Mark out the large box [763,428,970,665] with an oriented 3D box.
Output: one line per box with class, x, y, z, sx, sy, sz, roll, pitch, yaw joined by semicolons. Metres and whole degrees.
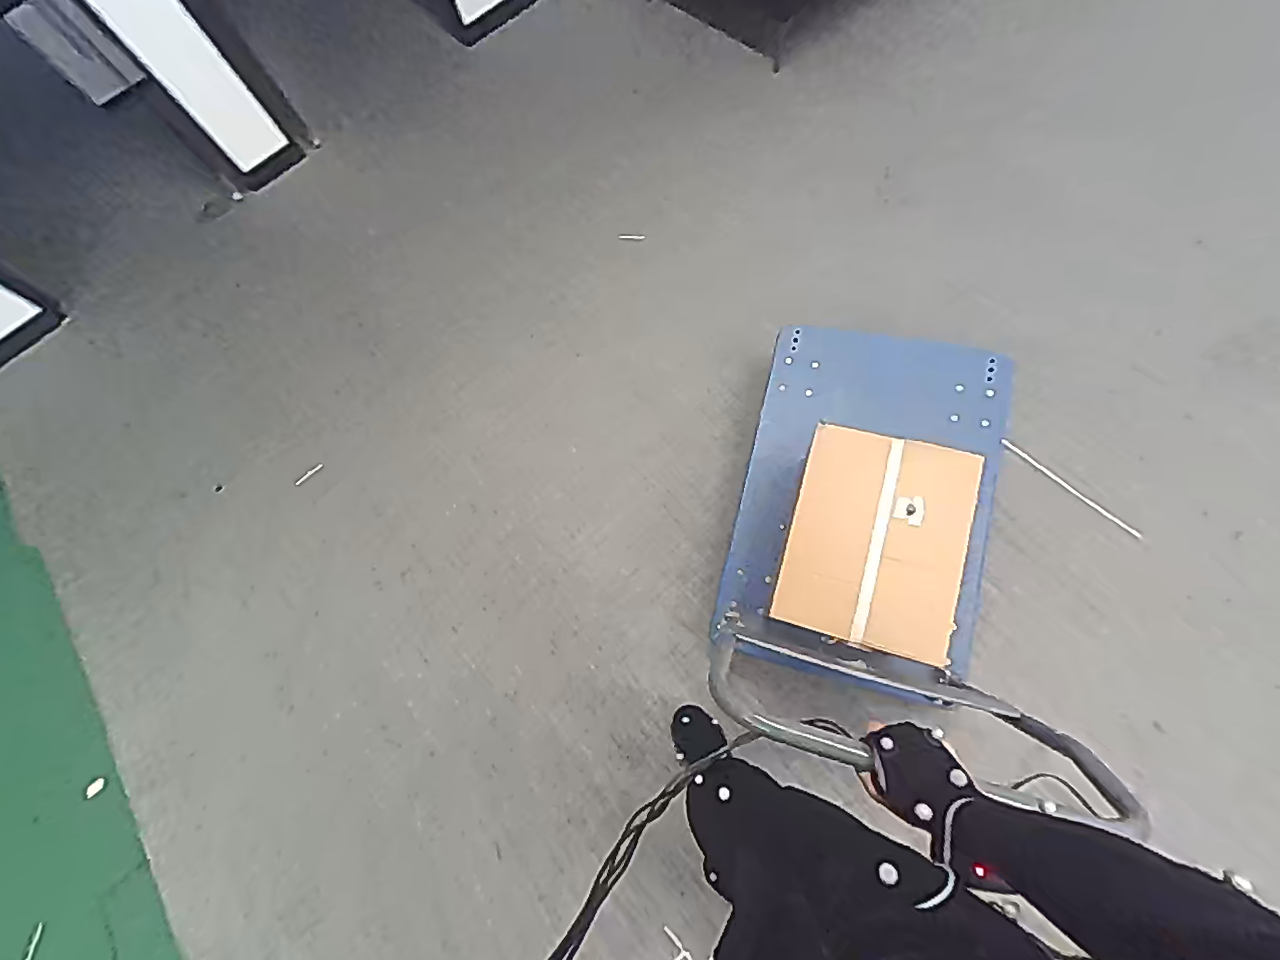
large box;0.468;0.151;1.185;0.320;0.320;0.408;15;79;13
